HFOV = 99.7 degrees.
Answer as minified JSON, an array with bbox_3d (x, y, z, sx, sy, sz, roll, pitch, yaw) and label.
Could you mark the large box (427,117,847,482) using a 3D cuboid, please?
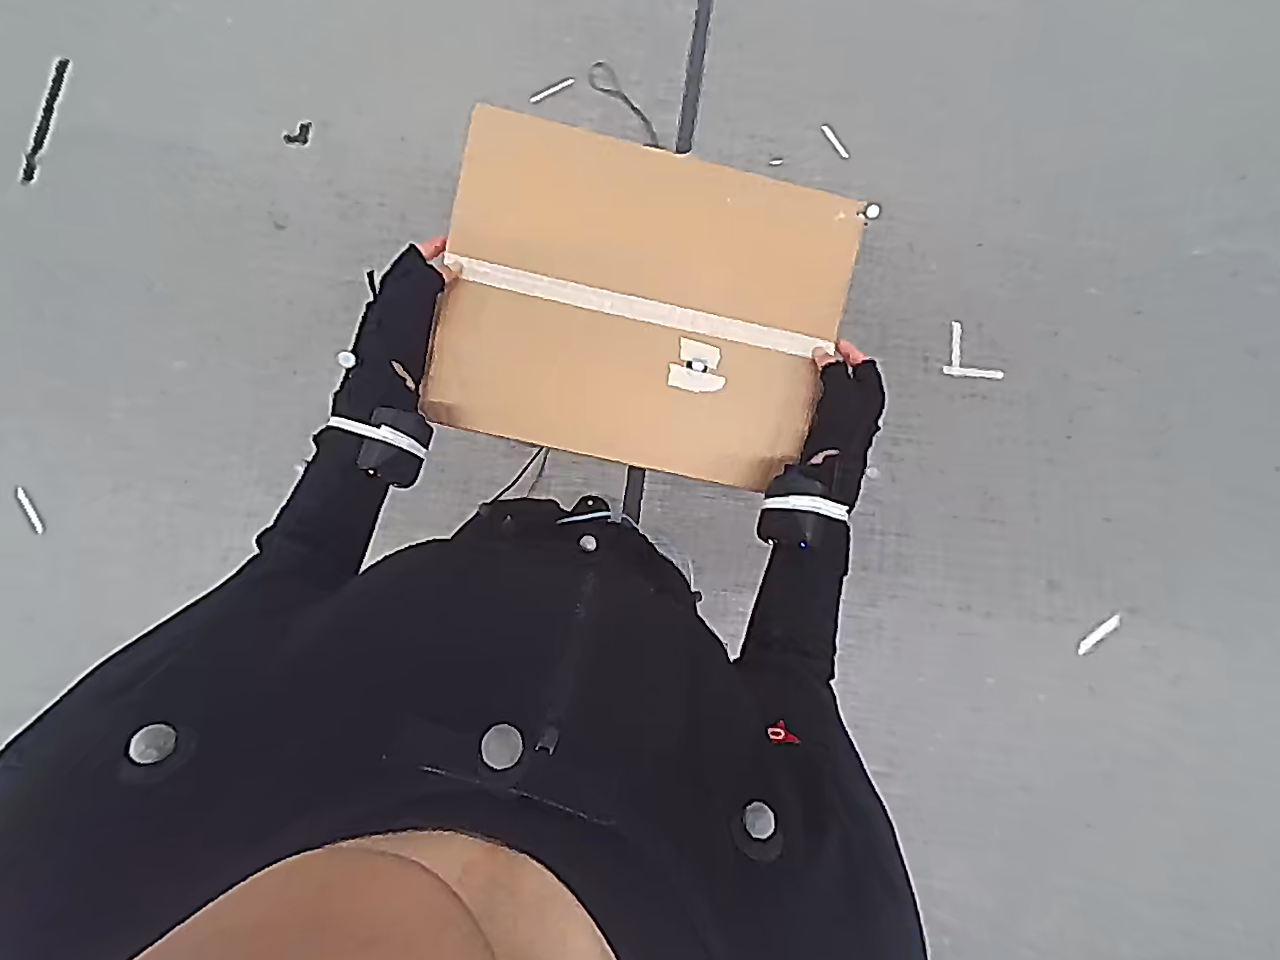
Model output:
[{"bbox_3d":[-0.013,-0.194,0.713,0.408,0.320,0.320,11,95,-5],"label":"large box"}]
